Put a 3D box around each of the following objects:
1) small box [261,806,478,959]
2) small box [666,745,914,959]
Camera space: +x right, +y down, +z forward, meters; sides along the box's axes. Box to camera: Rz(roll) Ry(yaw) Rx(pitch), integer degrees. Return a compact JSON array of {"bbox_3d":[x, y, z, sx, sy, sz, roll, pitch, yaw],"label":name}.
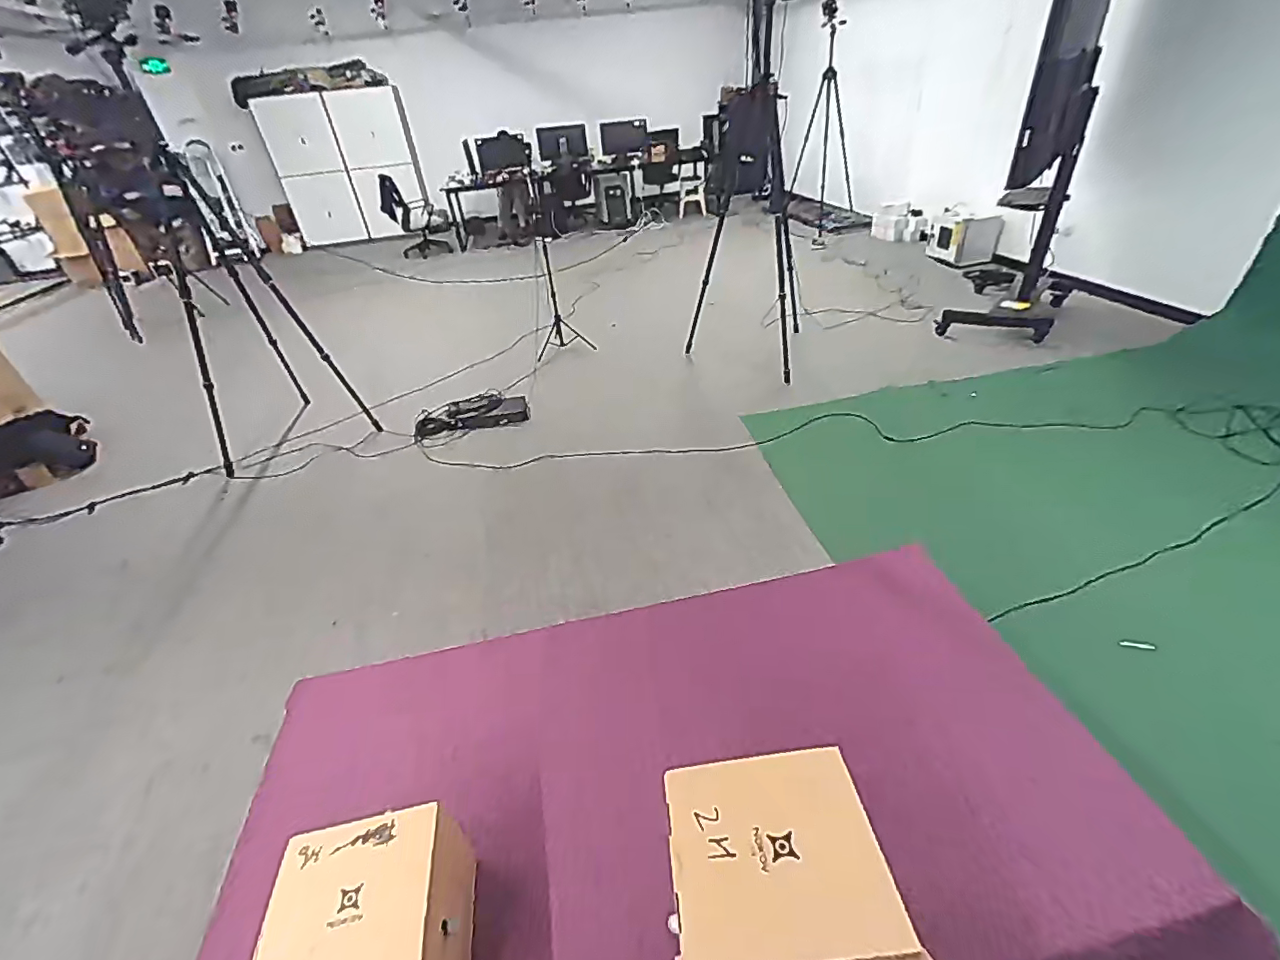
[{"bbox_3d":[-0.284,0.504,0.595,0.168,0.176,0.179,-11,36,-6],"label":"small box"},{"bbox_3d":[0.126,0.384,0.504,0.179,0.176,0.168,-10,26,2],"label":"small box"}]
